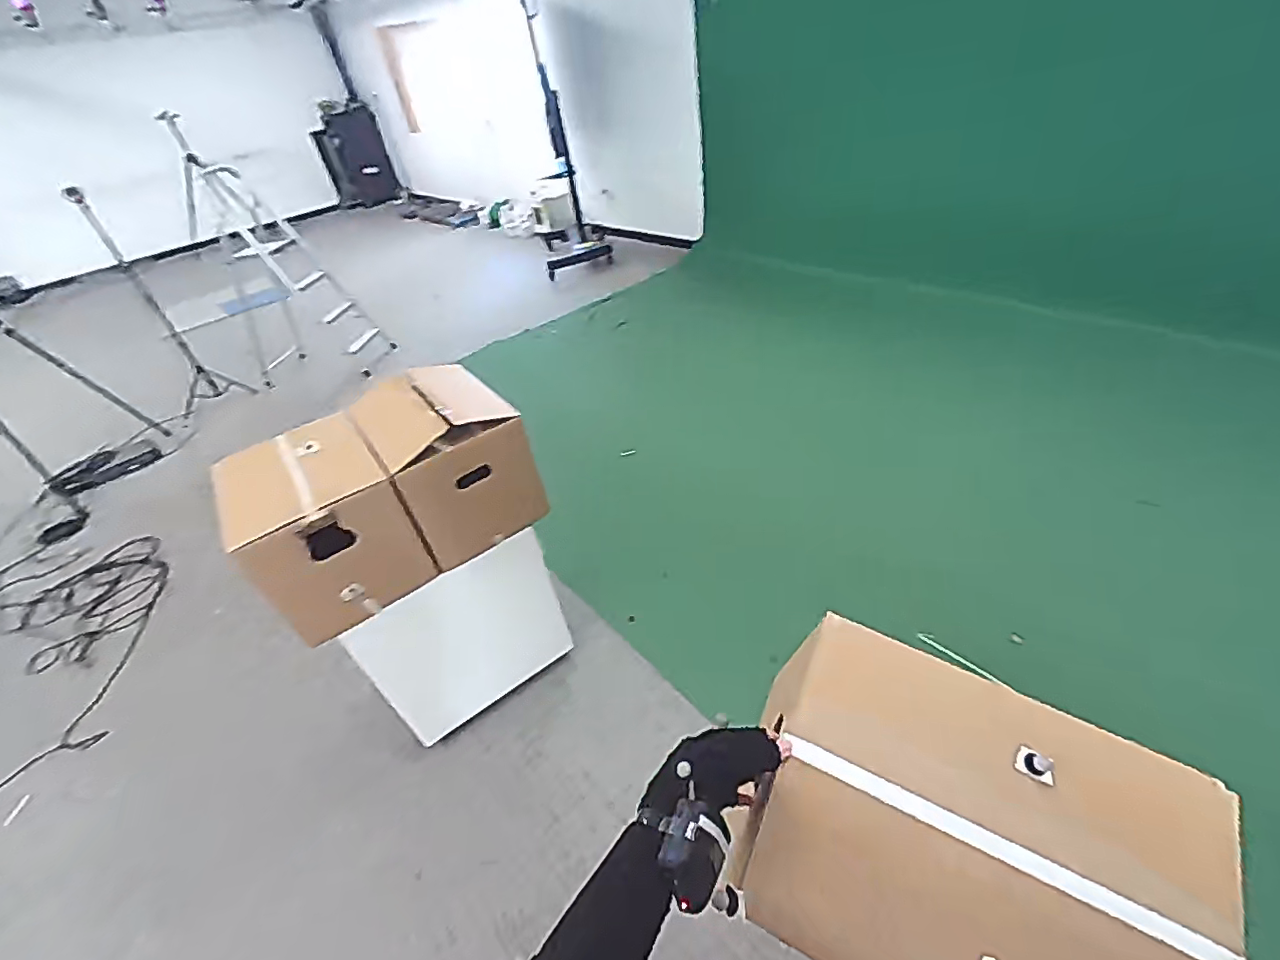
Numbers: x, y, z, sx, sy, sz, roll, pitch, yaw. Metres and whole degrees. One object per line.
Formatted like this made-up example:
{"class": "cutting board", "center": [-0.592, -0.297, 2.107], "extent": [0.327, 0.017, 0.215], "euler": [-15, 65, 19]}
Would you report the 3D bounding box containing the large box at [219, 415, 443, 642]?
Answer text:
{"class": "large box", "center": [-0.735, 0.101, 1.298], "extent": [0.320, 0.320, 0.408], "euler": [-30, 42, -24]}
